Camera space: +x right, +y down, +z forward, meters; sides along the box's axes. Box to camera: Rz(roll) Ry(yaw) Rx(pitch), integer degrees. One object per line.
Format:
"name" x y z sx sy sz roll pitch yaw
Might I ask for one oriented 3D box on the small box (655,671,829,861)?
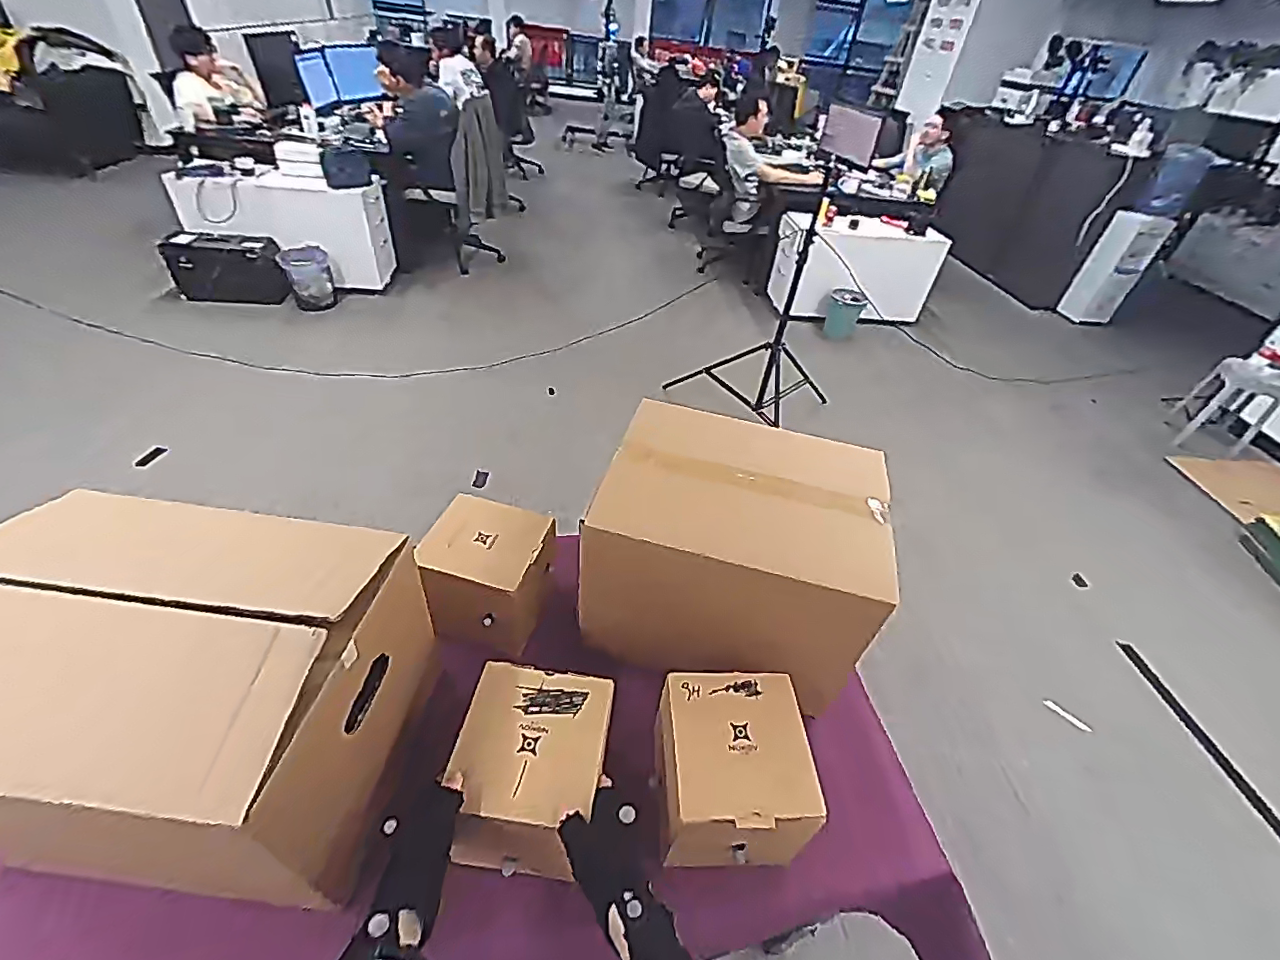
"small box" 0.114 0.367 0.691 0.168 0.176 0.179 3 40 -7
